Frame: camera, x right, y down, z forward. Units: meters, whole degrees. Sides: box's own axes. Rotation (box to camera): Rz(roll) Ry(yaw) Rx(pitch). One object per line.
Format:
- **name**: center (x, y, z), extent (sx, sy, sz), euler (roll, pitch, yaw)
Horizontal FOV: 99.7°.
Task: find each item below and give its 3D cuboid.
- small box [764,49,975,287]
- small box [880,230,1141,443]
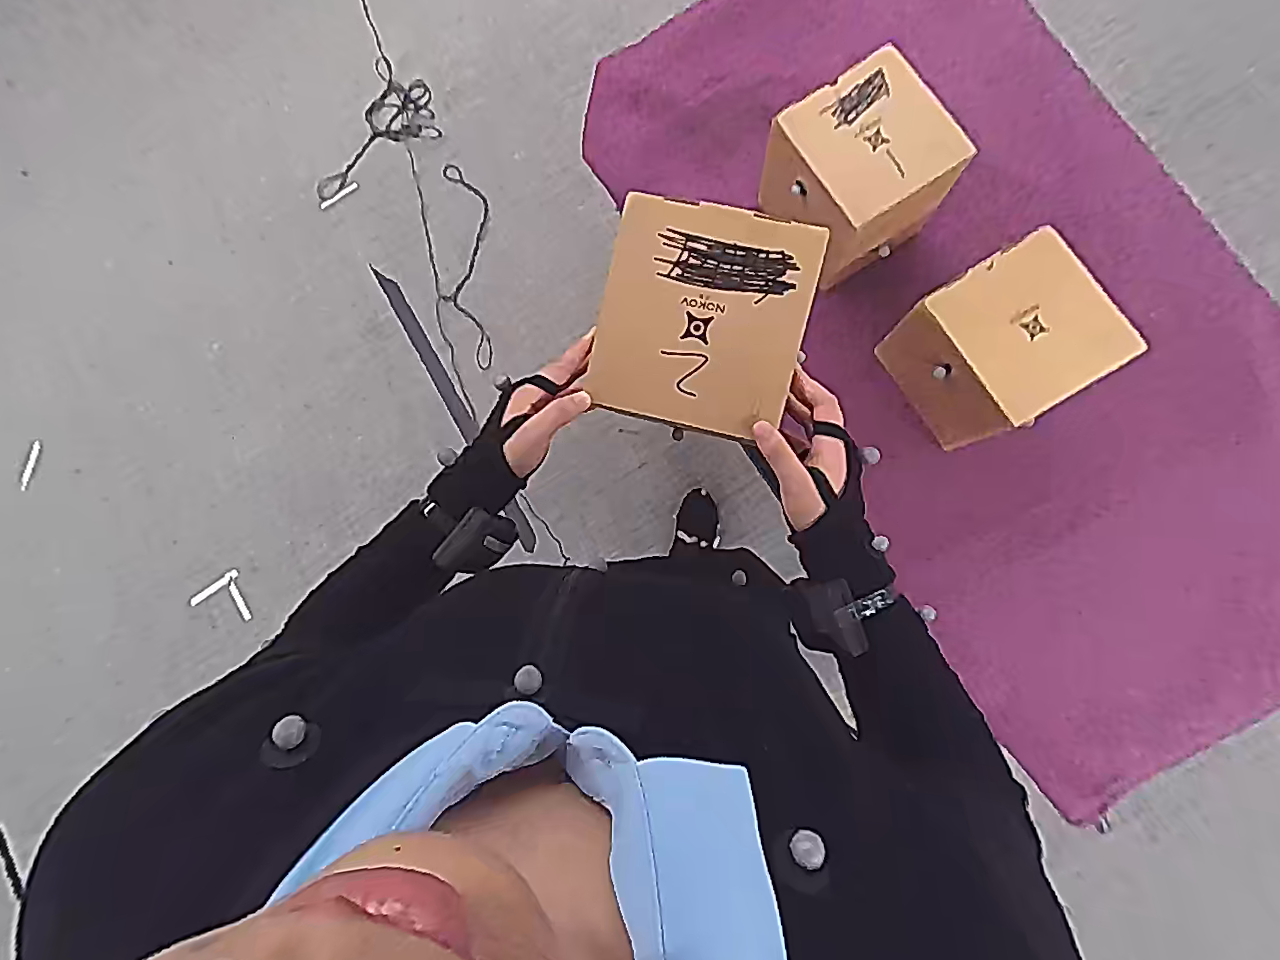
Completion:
- **small box**: center (0.283, -0.397, 0.717), extent (0.168, 0.176, 0.179), euler (-32, 82, 2)
- **small box**: center (0.439, -0.161, 0.676), extent (0.168, 0.176, 0.179), euler (-31, 81, 2)
